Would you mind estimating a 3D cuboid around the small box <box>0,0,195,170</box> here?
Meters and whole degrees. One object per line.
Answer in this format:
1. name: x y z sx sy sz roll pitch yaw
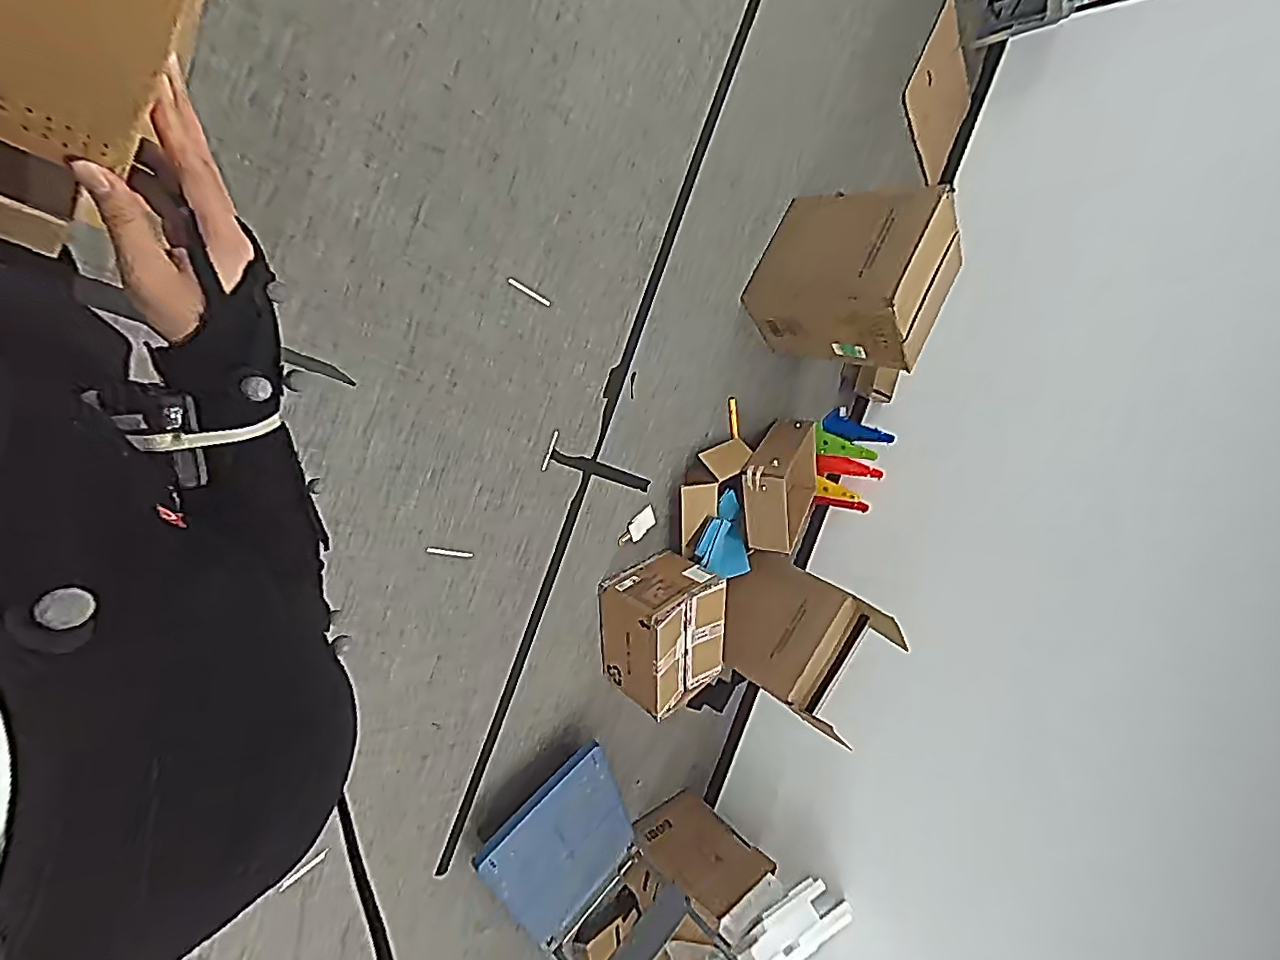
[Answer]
1. small box: -0.265 -0.267 0.194 0.168 0.176 0.179 13 68 -50
